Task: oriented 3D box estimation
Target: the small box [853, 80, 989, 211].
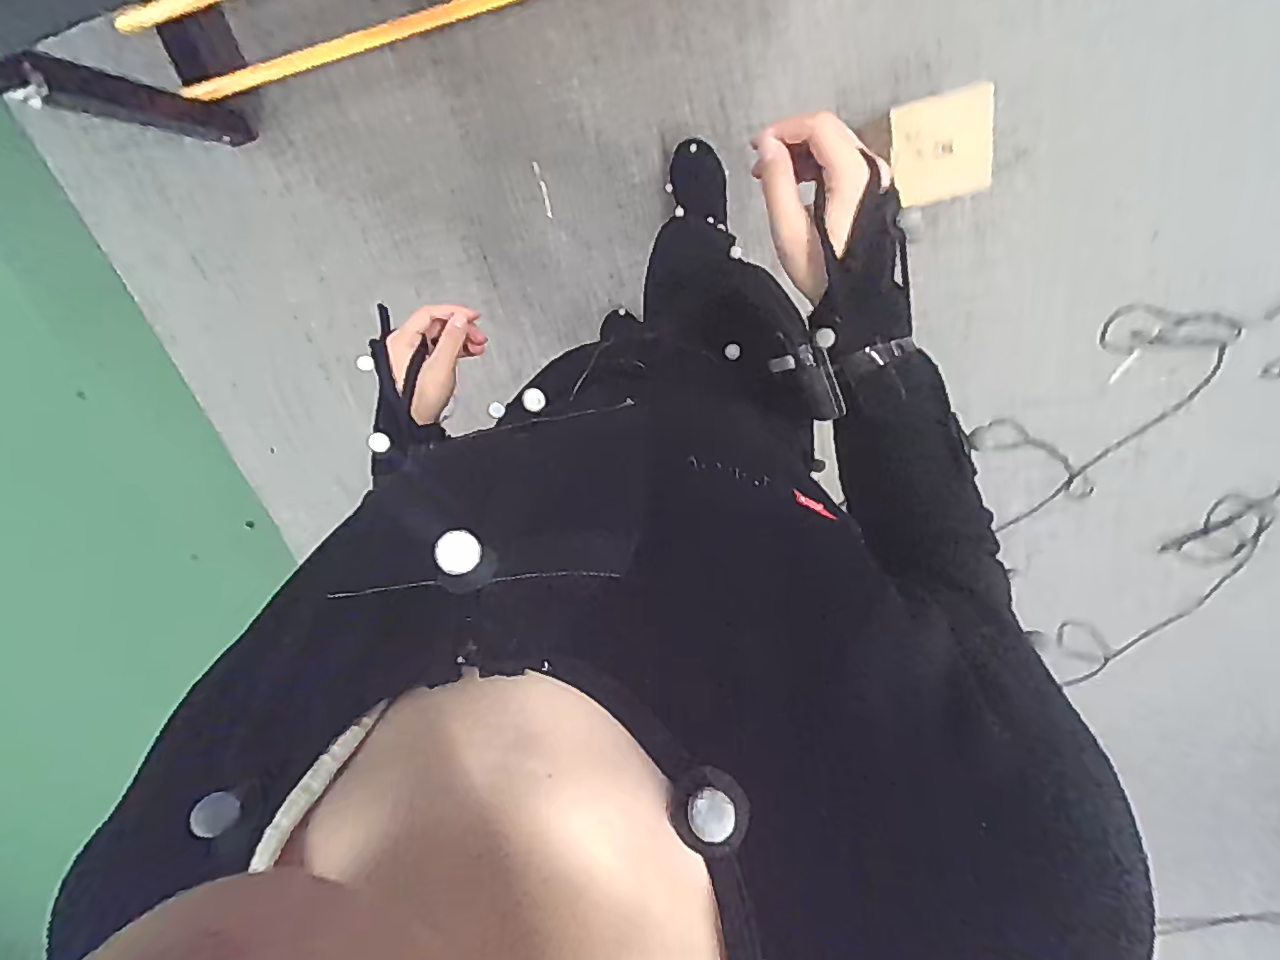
[{"bbox_3d":[0.530,-0.627,1.034,0.179,0.176,0.168,-13,112,7],"label":"small box"}]
